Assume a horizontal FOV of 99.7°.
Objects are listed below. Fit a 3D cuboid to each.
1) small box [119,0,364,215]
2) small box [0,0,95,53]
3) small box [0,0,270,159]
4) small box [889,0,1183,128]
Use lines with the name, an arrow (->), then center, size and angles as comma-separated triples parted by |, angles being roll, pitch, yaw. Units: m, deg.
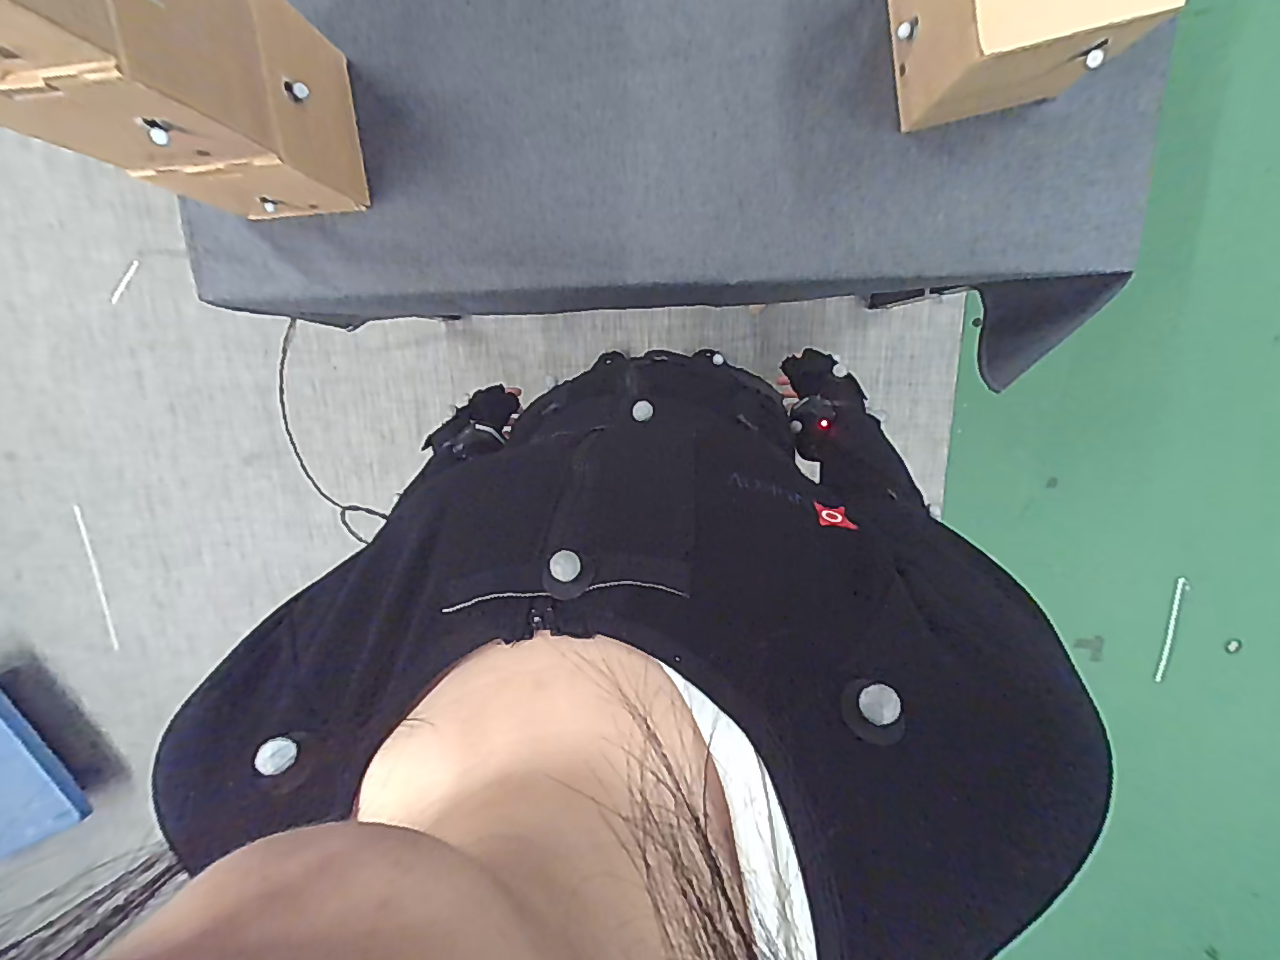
small box -> -0.438, -0.413, 0.598 | 0.168, 0.176, 0.179 | -3, 103, 3
small box -> -0.450, -0.352, 0.277 | 0.168, 0.176, 0.179 | -4, 102, 2
small box -> -0.443, -0.381, 0.439 | 0.168, 0.176, 0.179 | -3, 103, 2
small box -> 0.372, -0.486, 0.535 | 0.179, 0.176, 0.168 | -11, 102, 6
